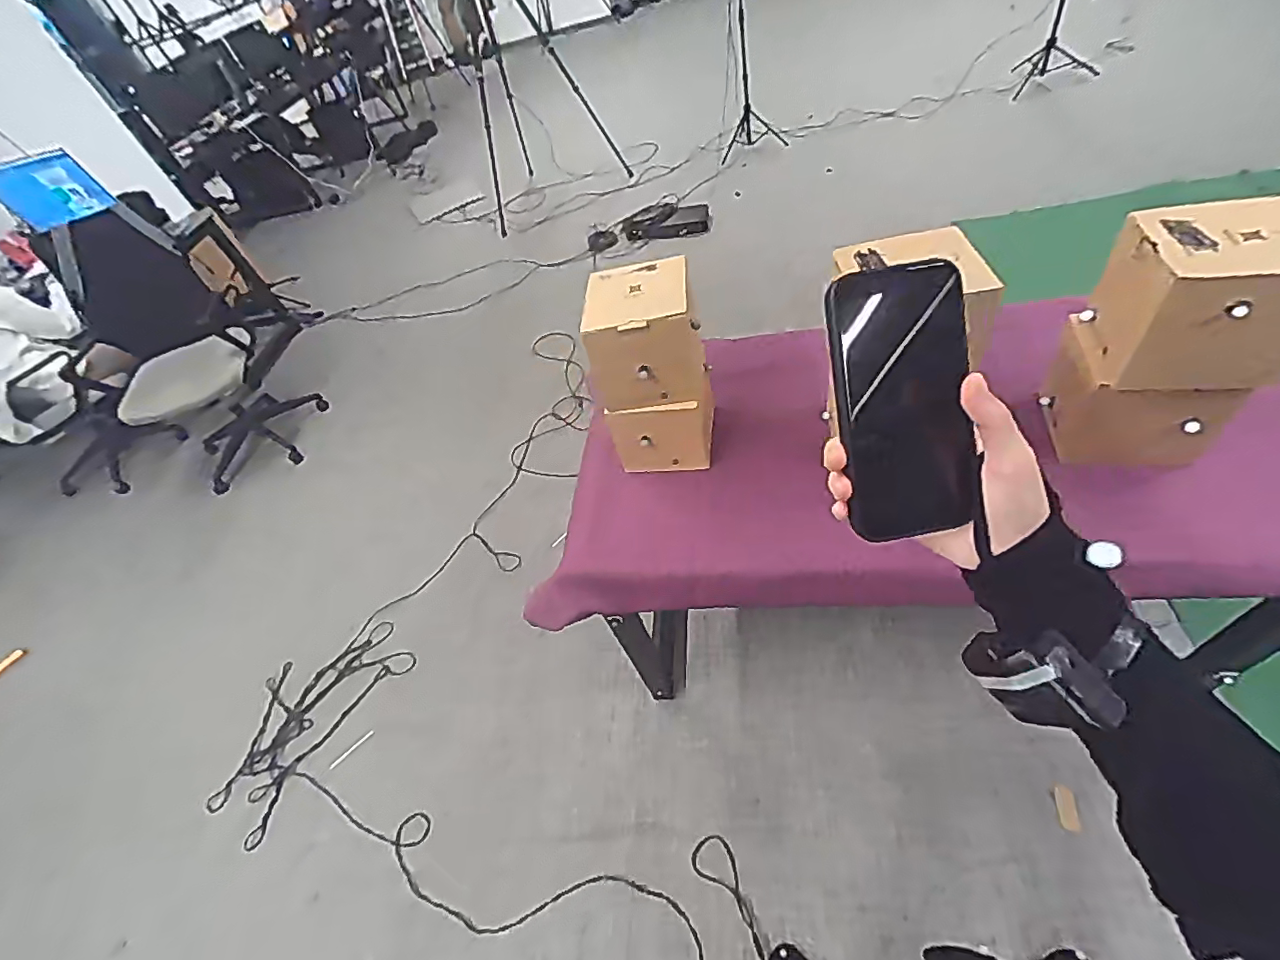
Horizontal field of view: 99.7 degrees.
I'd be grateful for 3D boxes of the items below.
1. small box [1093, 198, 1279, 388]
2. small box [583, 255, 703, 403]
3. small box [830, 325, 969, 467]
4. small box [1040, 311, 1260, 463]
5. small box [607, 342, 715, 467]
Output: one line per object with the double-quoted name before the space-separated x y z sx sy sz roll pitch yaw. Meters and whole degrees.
"small box" 0.721 -0.231 0.690 0.179 0.176 0.168 2 51 18
"small box" 0.014 -0.245 0.912 0.168 0.176 0.179 -6 50 11
"small box" 0.424 -0.137 0.917 0.179 0.176 0.168 -3 50 15
"small box" 0.751 -0.140 0.823 0.179 0.176 0.168 2 51 19
"small box" 0.050 -0.135 1.029 0.168 0.176 0.179 -2 50 15
